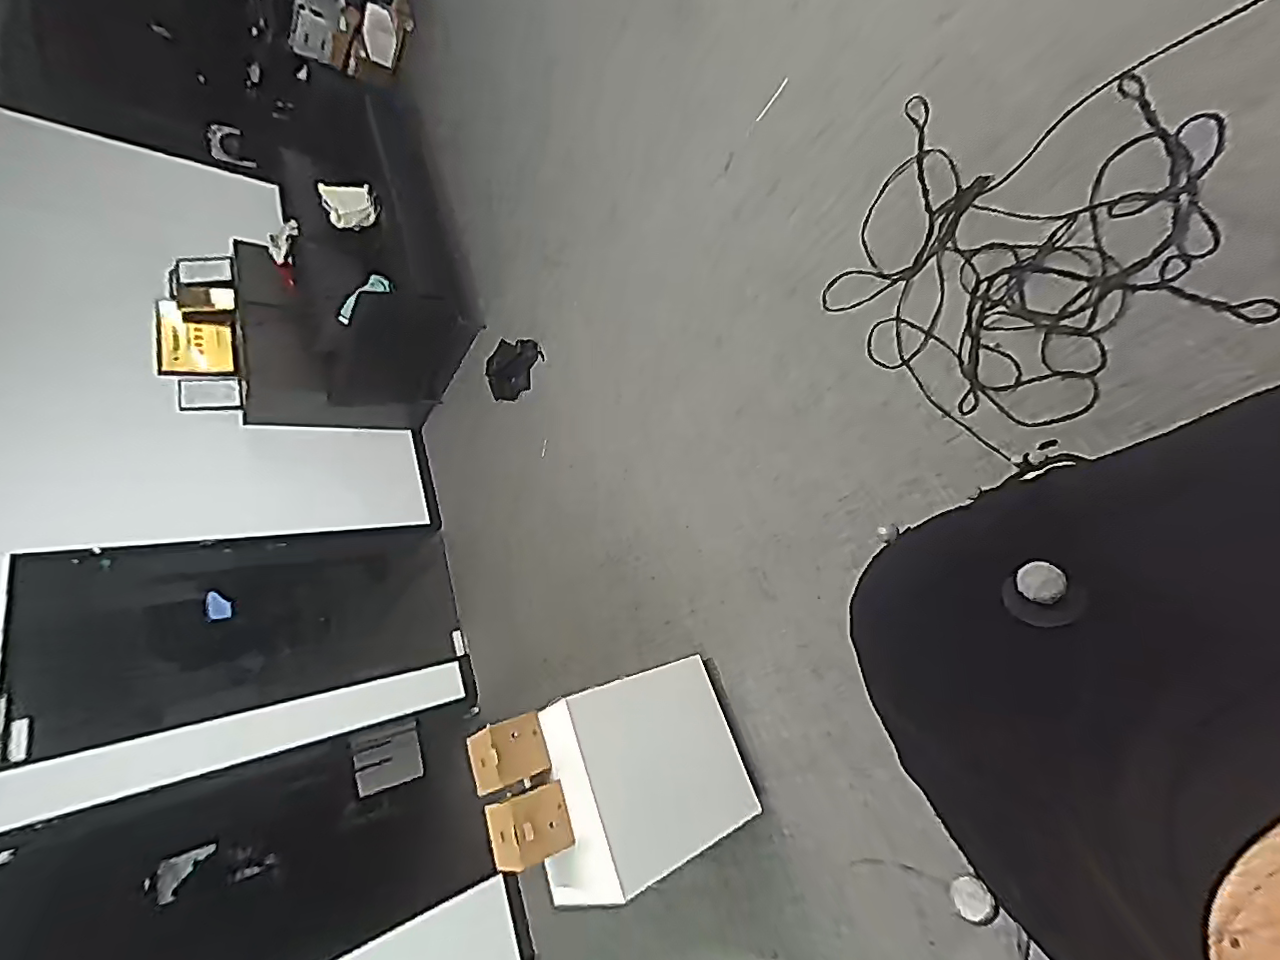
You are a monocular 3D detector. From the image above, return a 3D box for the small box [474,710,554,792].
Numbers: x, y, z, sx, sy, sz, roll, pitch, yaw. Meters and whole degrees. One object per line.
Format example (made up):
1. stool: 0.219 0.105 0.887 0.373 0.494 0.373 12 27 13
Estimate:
1. small box: -0.376 0.814 1.632 0.179 0.176 0.168 -45 58 42
